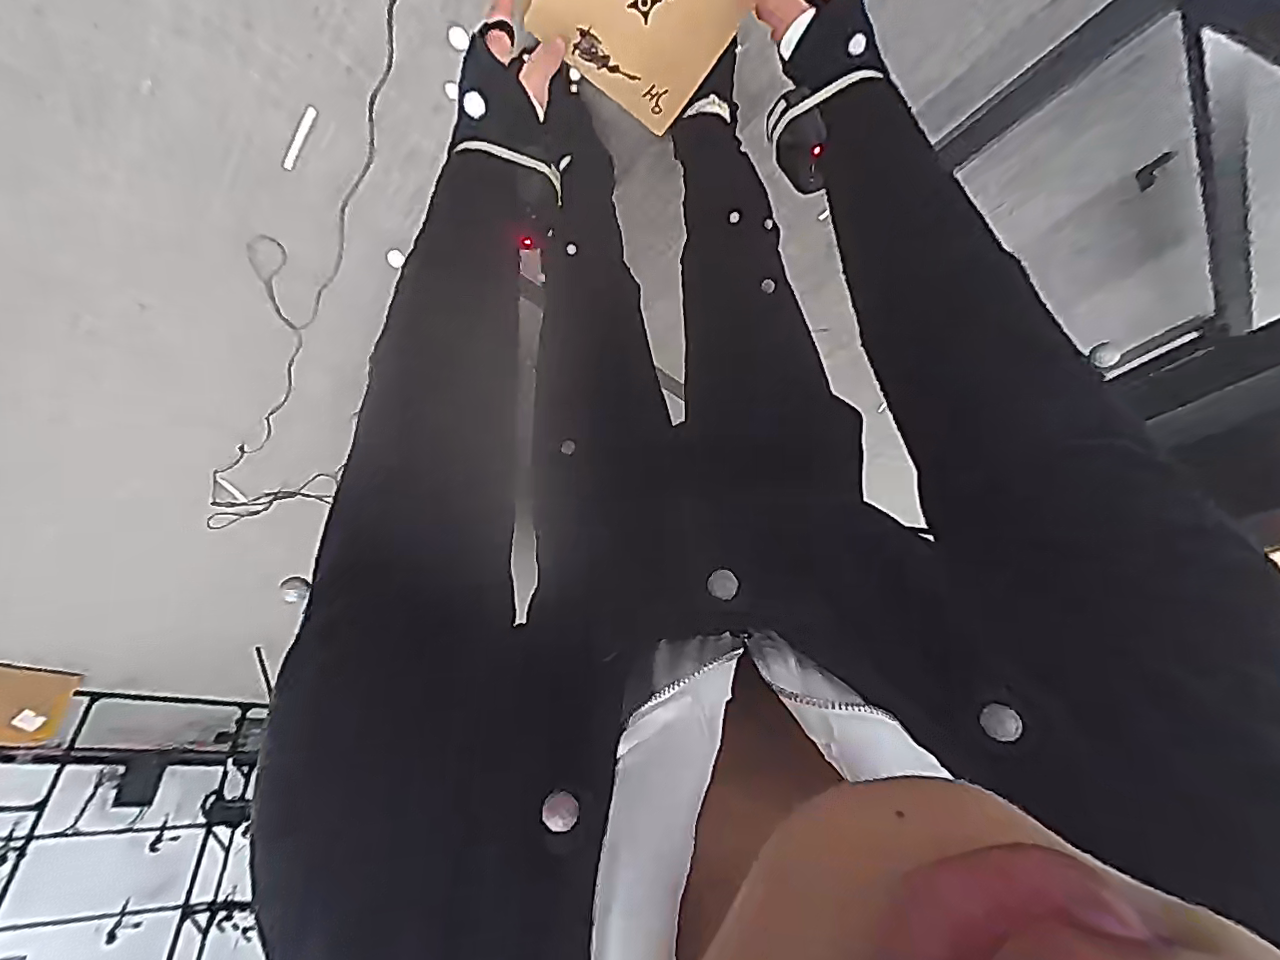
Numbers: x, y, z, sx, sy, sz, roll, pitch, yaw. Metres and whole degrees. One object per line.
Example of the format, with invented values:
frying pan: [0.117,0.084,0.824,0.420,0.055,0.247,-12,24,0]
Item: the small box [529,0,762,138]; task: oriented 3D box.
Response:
small box: [0.004,-0.493,0.523,0.168,0.176,0.179,20,137,-32]
